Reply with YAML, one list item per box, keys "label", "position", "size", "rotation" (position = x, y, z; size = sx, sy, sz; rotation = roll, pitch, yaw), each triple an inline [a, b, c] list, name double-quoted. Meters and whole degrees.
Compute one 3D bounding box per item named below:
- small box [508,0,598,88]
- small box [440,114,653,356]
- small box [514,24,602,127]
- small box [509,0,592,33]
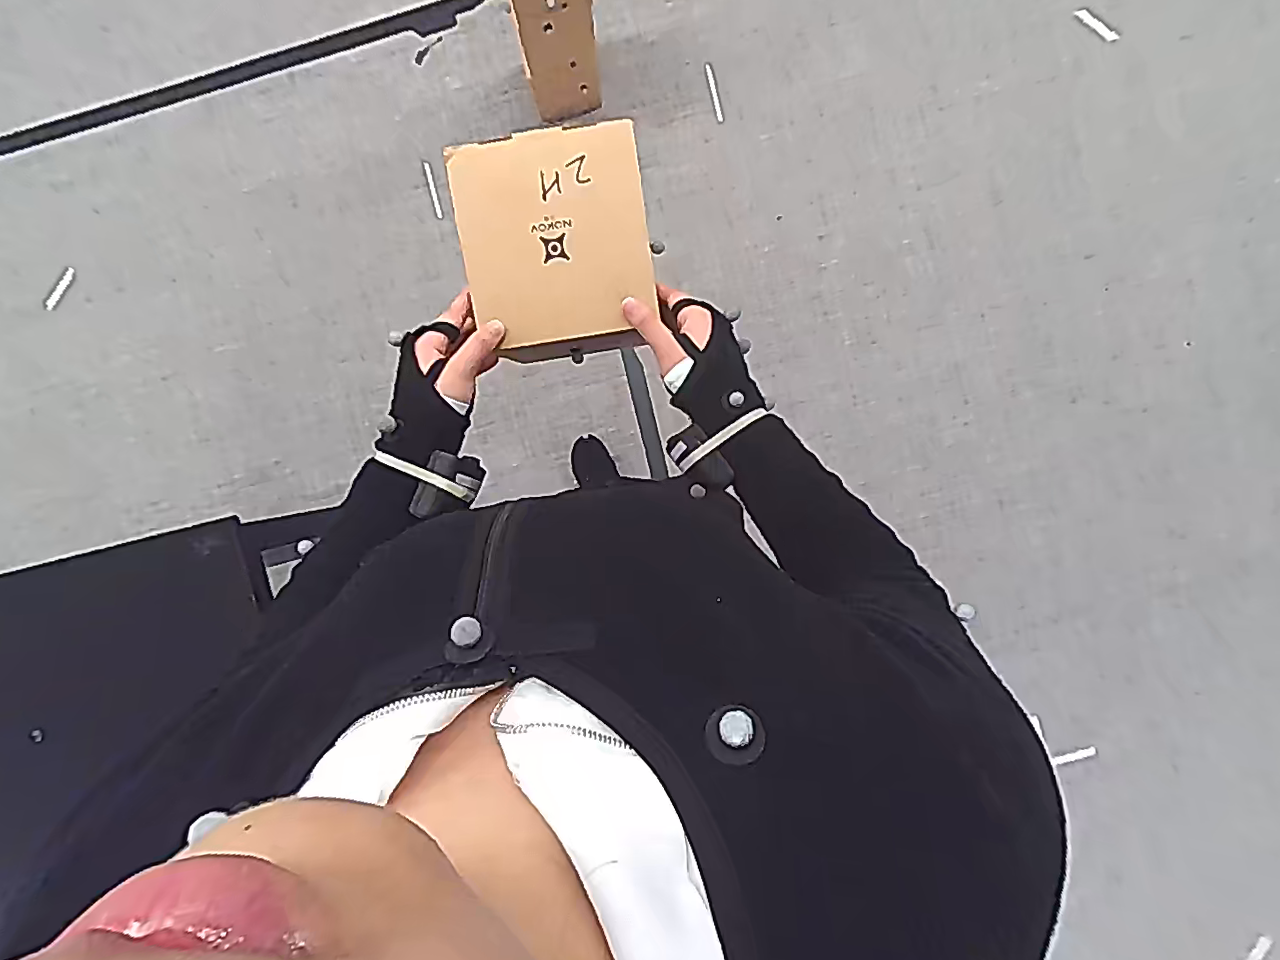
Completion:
- label: "small box"
  position: [-0.201, -1.042, 1.219]
  size: [0.168, 0.176, 0.179]
  rotation: [-17, 91, 1]
- label: "small box"
  position: [-0.077, -0.225, 0.550]
  size: [0.168, 0.176, 0.179]
  rotation: [-9, 98, 2]
- label: "small box"
  position: [-0.200, -1.049, 1.383]
  size: [0.179, 0.176, 0.168]
  rotation: [-15, 91, 3]
- label: "small box"
  position: [-0.199, -1.038, 1.054]
  size: [0.168, 0.176, 0.179]
  rotation: [-17, 92, 1]
